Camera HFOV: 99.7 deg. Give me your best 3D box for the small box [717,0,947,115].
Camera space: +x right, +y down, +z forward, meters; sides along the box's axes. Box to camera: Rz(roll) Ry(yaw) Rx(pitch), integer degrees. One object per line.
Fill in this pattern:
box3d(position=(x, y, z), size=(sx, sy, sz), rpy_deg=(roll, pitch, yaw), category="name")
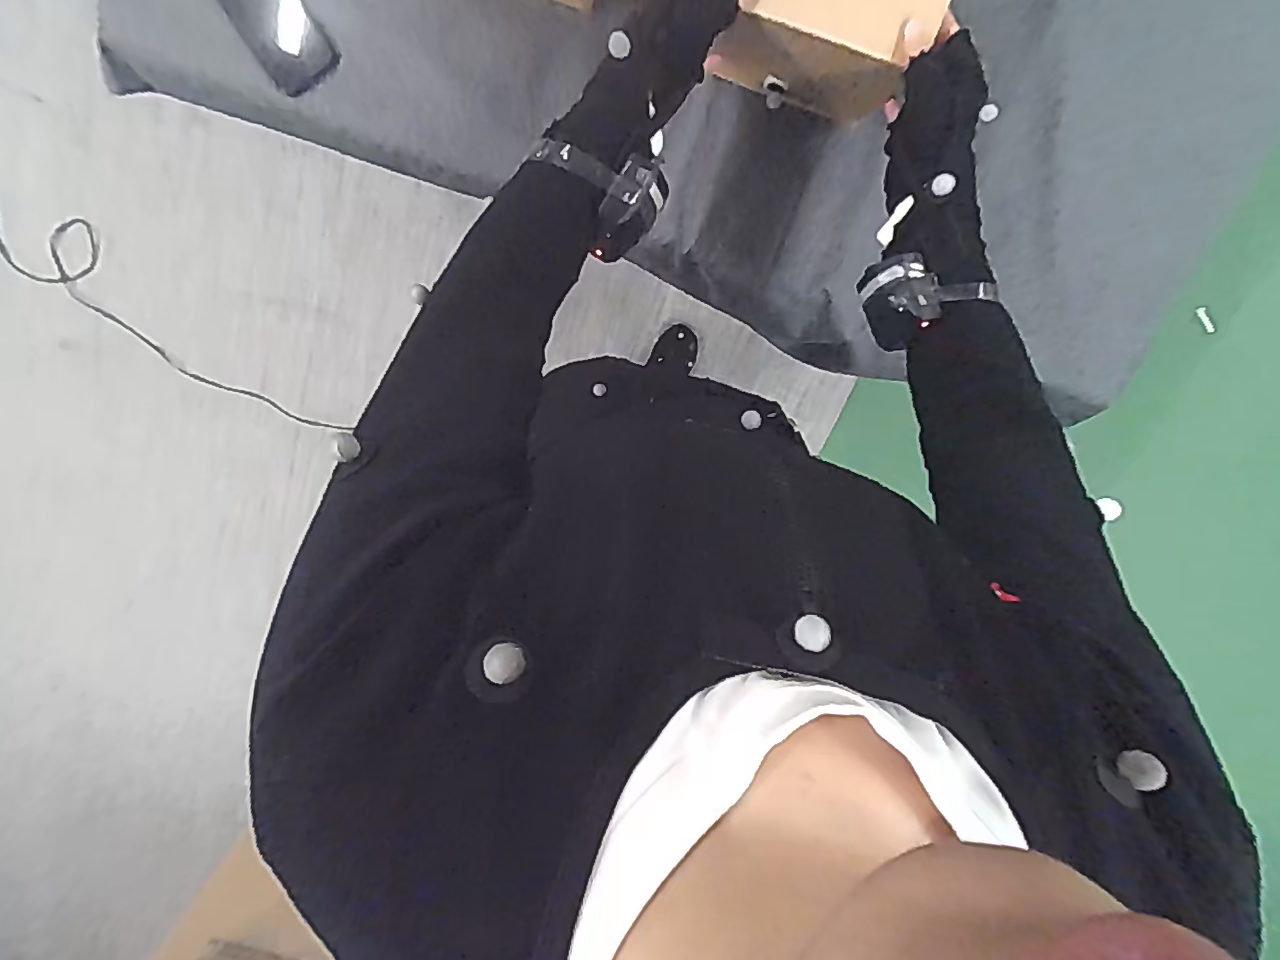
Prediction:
box3d(position=(0.170, -0.452, 0.463), size=(0.168, 0.176, 0.179), rpy_deg=(16, 112, -3), category="small box")
